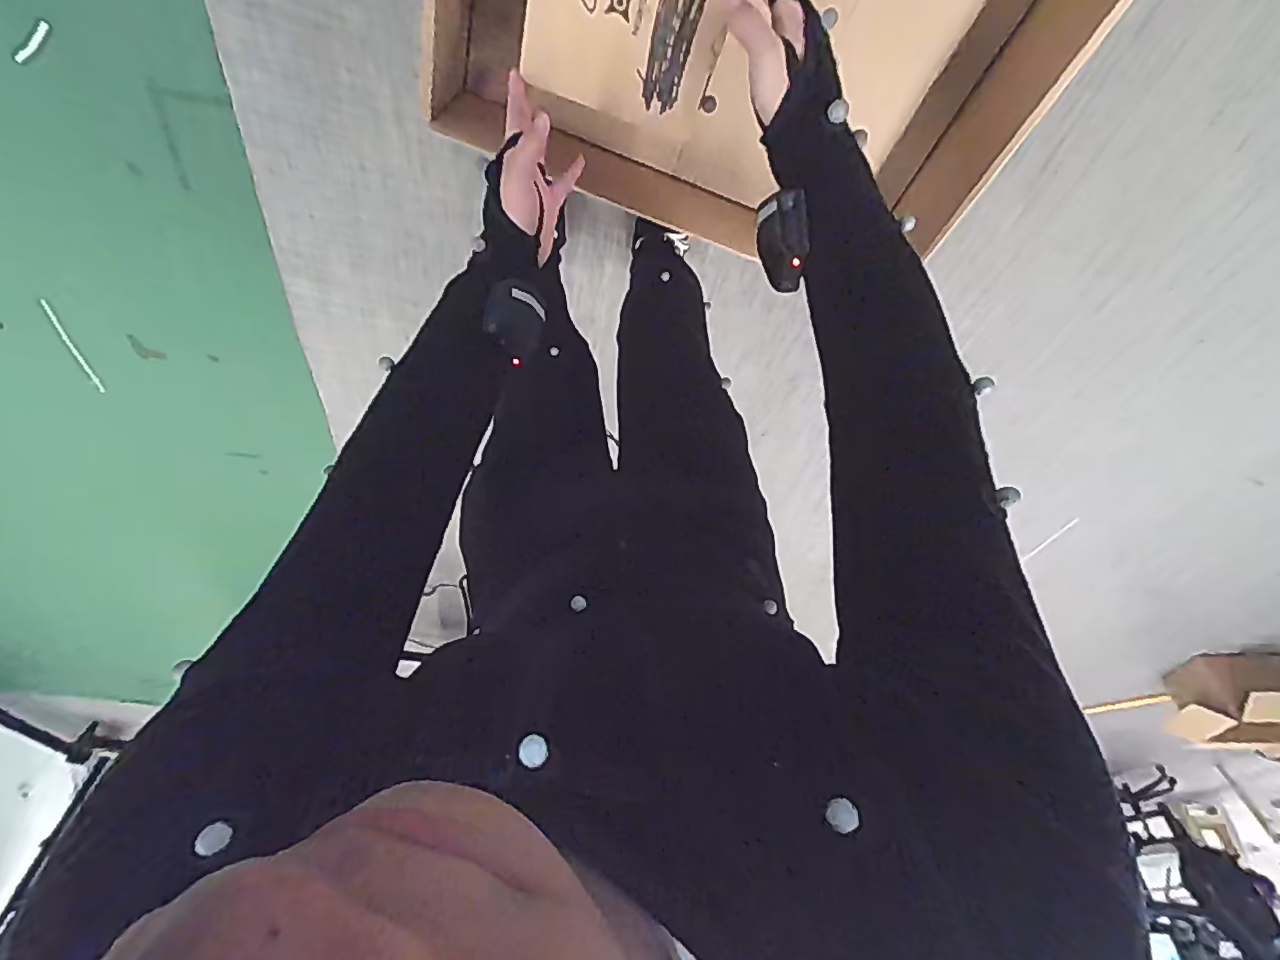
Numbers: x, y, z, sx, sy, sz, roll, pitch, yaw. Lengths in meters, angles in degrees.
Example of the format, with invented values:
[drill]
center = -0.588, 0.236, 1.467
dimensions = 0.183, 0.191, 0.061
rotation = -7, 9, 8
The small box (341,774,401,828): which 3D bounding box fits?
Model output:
[small box]
center = -1.105, 1.325, 2.239
dimensions = 0.168, 0.176, 0.179
rotation = 7, 138, -7
